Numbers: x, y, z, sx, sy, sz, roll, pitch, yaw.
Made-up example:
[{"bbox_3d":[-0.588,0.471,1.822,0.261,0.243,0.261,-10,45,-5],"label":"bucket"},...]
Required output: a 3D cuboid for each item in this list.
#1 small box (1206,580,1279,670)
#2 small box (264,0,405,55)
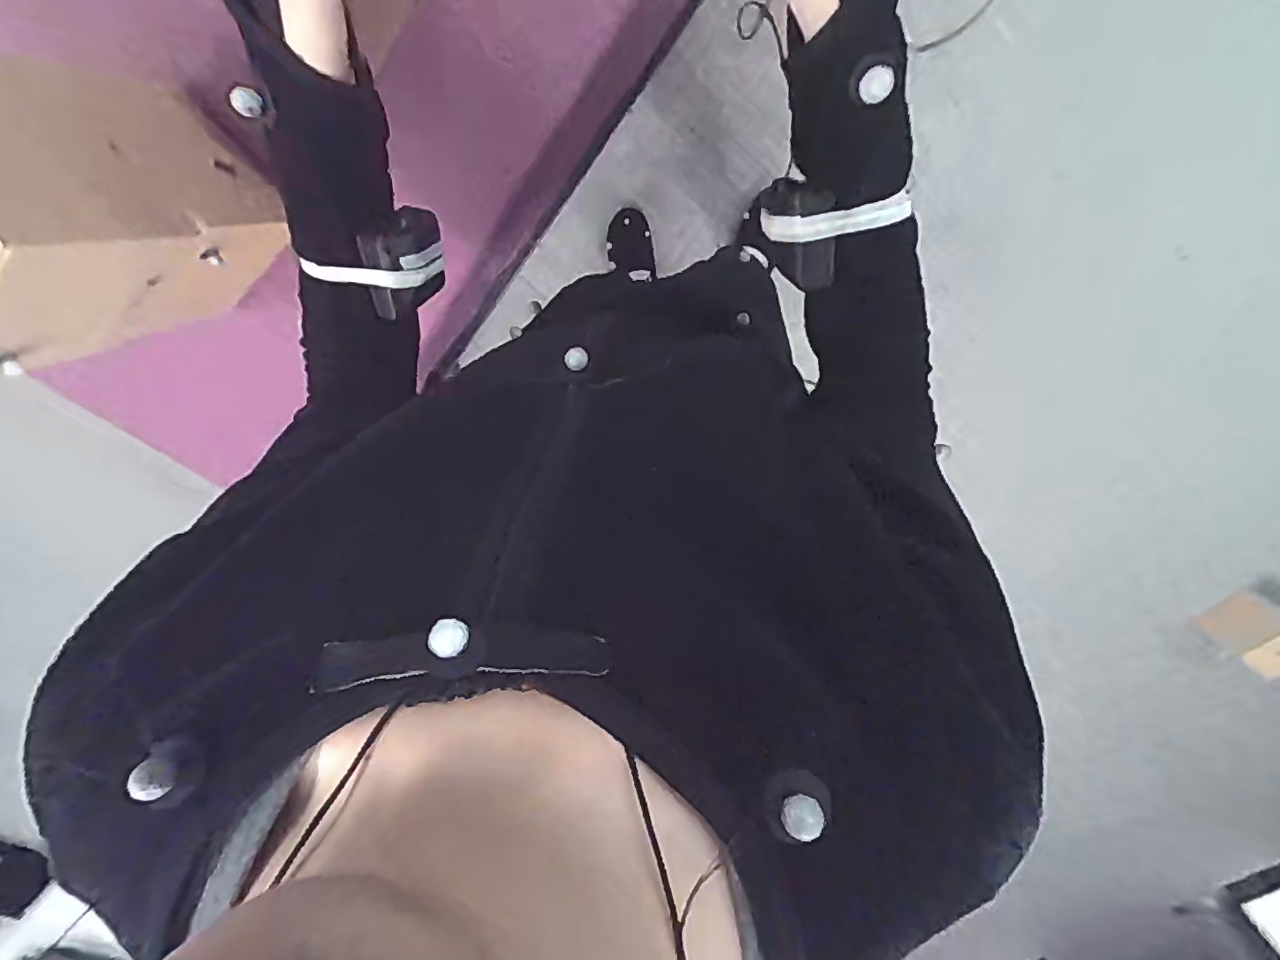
[{"bbox_3d":[1.964,0.453,1.705,0.168,0.176,0.179,32,113,-14],"label":"small box"},{"bbox_3d":[-0.290,-0.515,0.453,0.168,0.176,0.179,39,112,-16],"label":"small box"}]
